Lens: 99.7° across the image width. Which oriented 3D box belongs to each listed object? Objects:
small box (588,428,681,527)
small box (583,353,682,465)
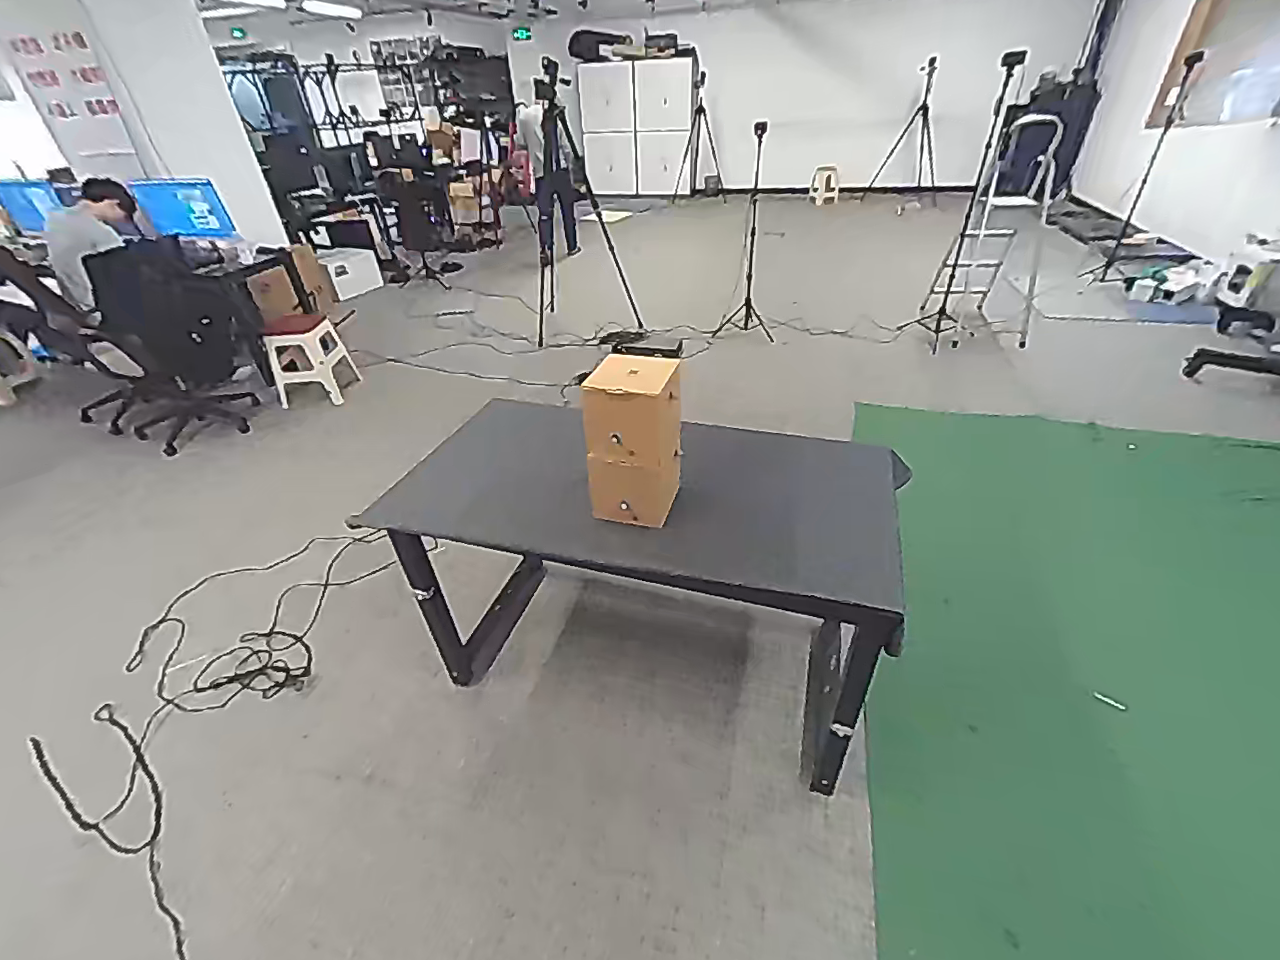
[{"bbox_3d":[-0.008,-0.017,1.246,0.168,0.176,0.179,8,37,16],"label":"small box"},{"bbox_3d":[-0.011,-0.153,1.157,0.168,0.176,0.179,9,37,15],"label":"small box"}]
